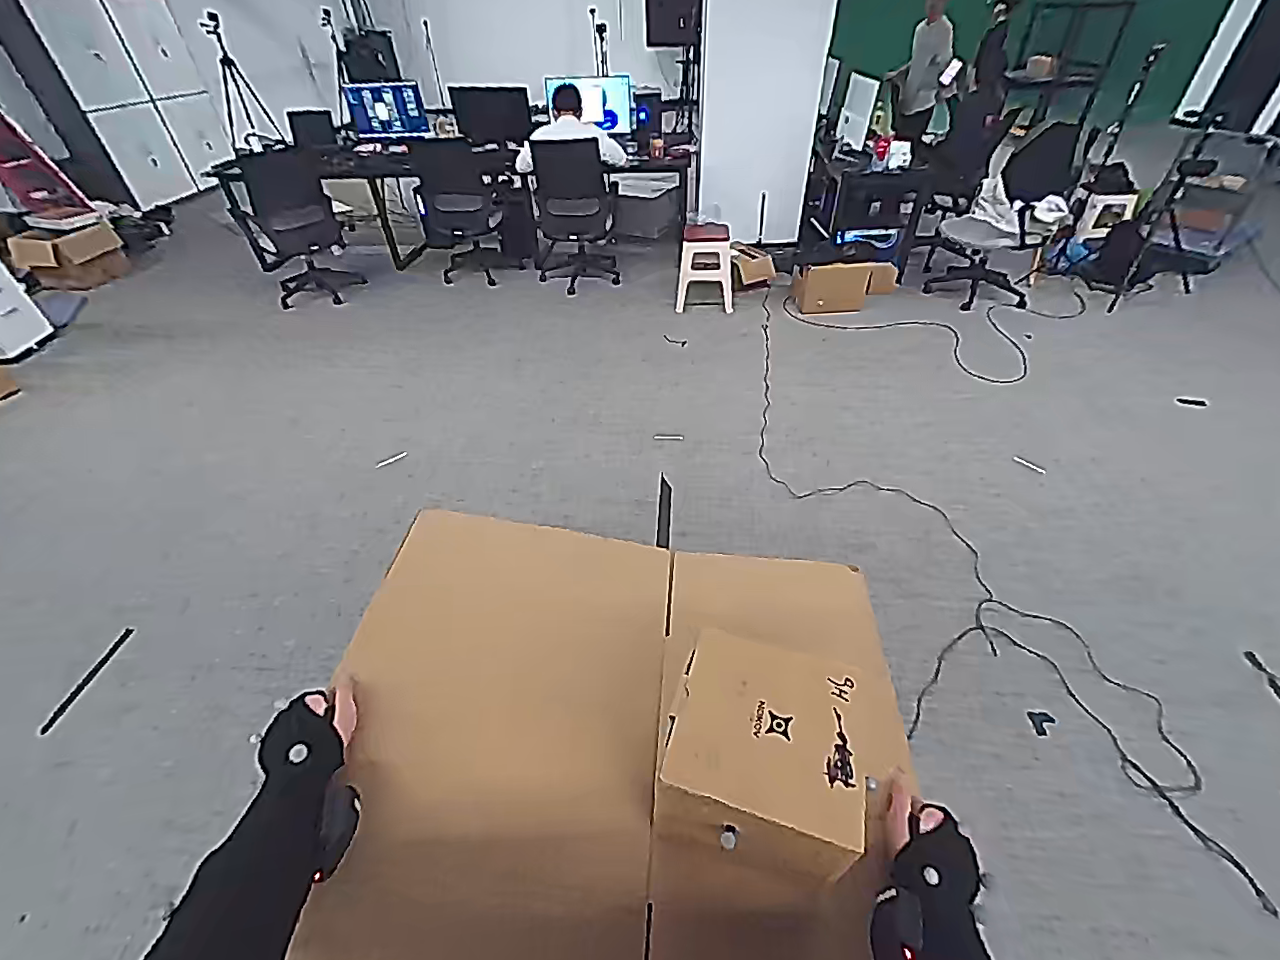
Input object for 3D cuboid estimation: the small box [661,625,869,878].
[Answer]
[{"bbox_3d":[0.129,0.285,0.571,0.179,0.176,0.168,11,45,15],"label":"small box"}]
